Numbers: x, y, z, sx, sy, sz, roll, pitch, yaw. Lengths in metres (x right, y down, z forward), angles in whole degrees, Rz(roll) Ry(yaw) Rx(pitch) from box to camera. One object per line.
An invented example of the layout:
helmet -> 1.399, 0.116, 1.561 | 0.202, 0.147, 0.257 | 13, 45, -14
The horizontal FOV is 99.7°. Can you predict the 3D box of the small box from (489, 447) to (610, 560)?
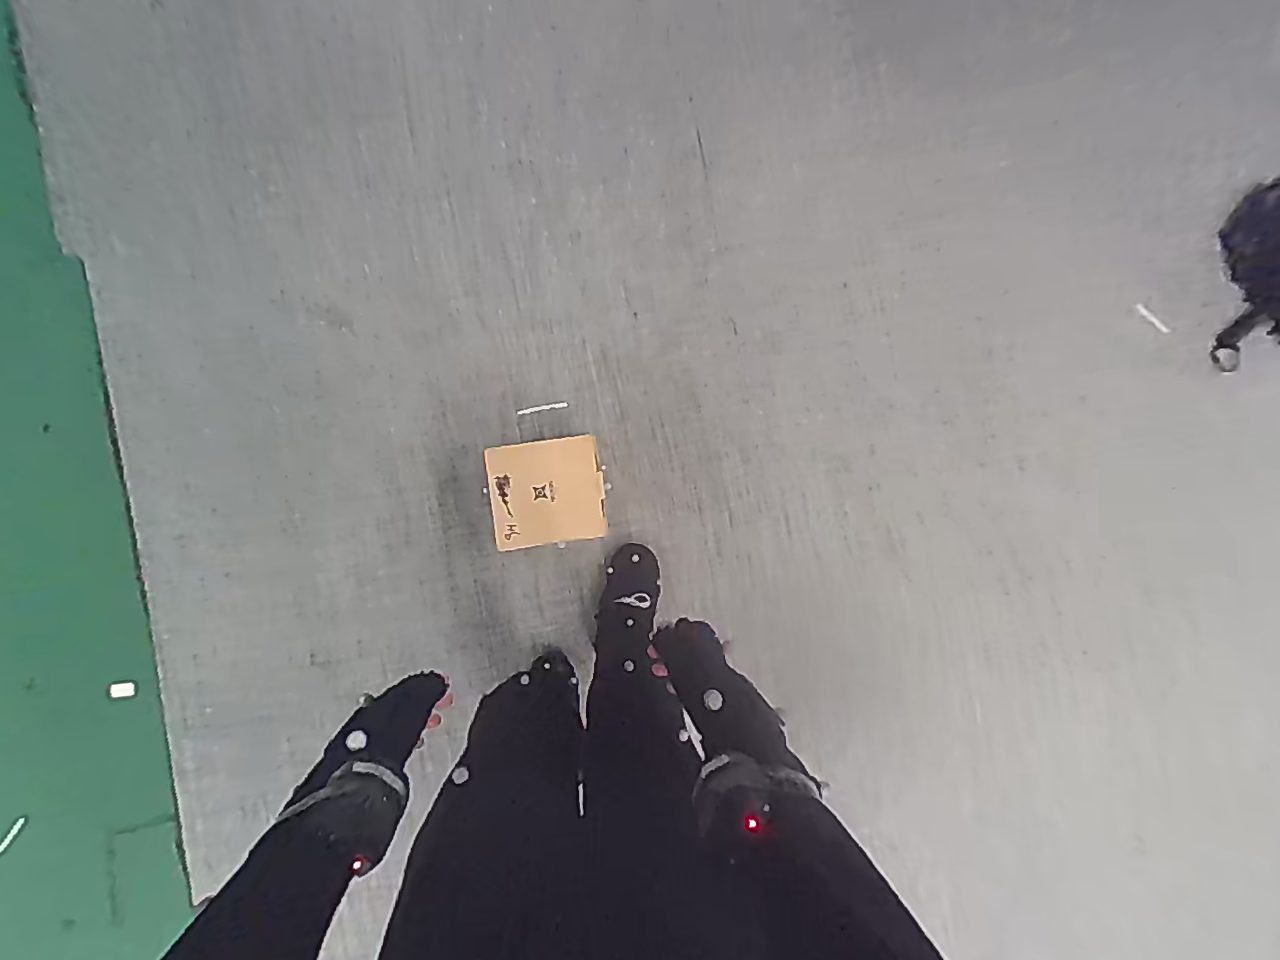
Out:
small box -> -0.150, 0.039, 0.939 | 0.179, 0.176, 0.168 | -8, 88, -4
